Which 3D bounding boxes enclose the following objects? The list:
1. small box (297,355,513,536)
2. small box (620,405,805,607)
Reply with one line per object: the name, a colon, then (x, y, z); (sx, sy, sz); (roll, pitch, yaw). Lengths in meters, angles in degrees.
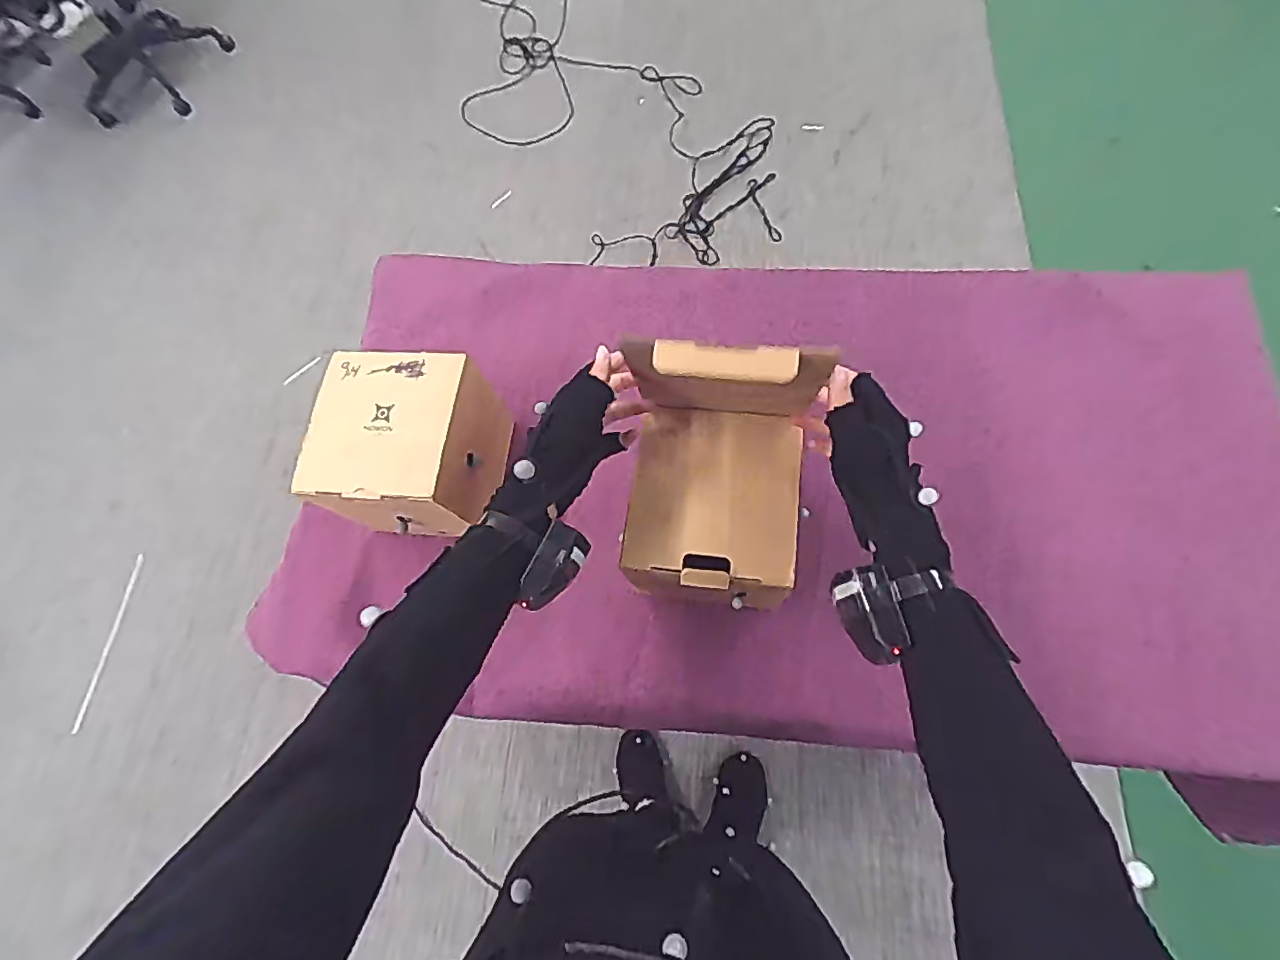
small box: (-0.270, -0.034, 0.666); (0.168, 0.176, 0.179); (3, 71, 7)
small box: (0.082, 0.037, 0.598); (0.168, 0.176, 0.179); (6, 70, 9)
